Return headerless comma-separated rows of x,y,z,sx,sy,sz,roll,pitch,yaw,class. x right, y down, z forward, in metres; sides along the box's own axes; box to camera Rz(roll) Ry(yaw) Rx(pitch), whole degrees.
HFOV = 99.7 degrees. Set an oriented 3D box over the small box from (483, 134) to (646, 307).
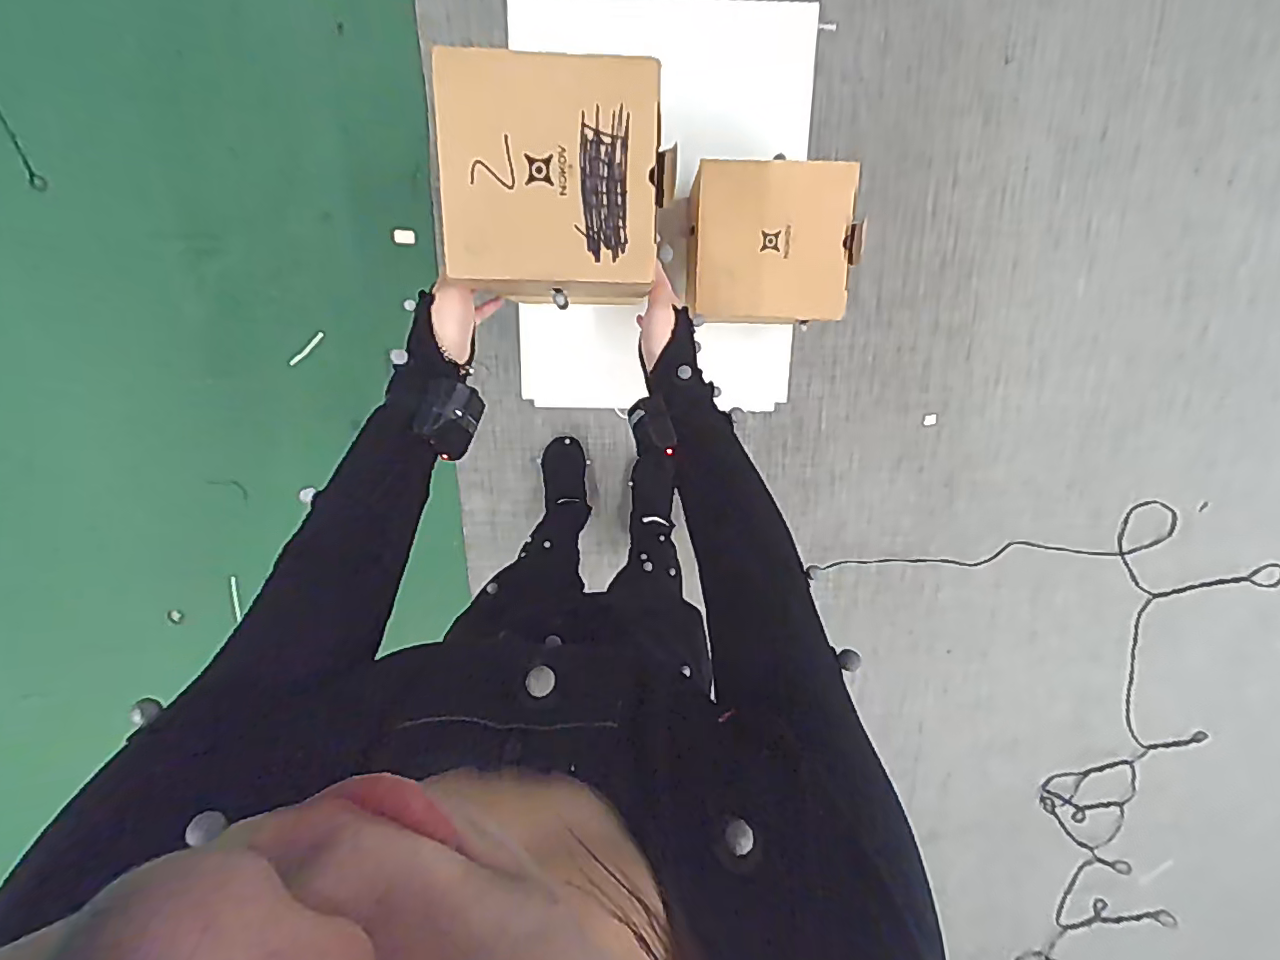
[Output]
-0.084,-0.305,0.669,0.179,0.176,0.168,0,105,-2,small box
